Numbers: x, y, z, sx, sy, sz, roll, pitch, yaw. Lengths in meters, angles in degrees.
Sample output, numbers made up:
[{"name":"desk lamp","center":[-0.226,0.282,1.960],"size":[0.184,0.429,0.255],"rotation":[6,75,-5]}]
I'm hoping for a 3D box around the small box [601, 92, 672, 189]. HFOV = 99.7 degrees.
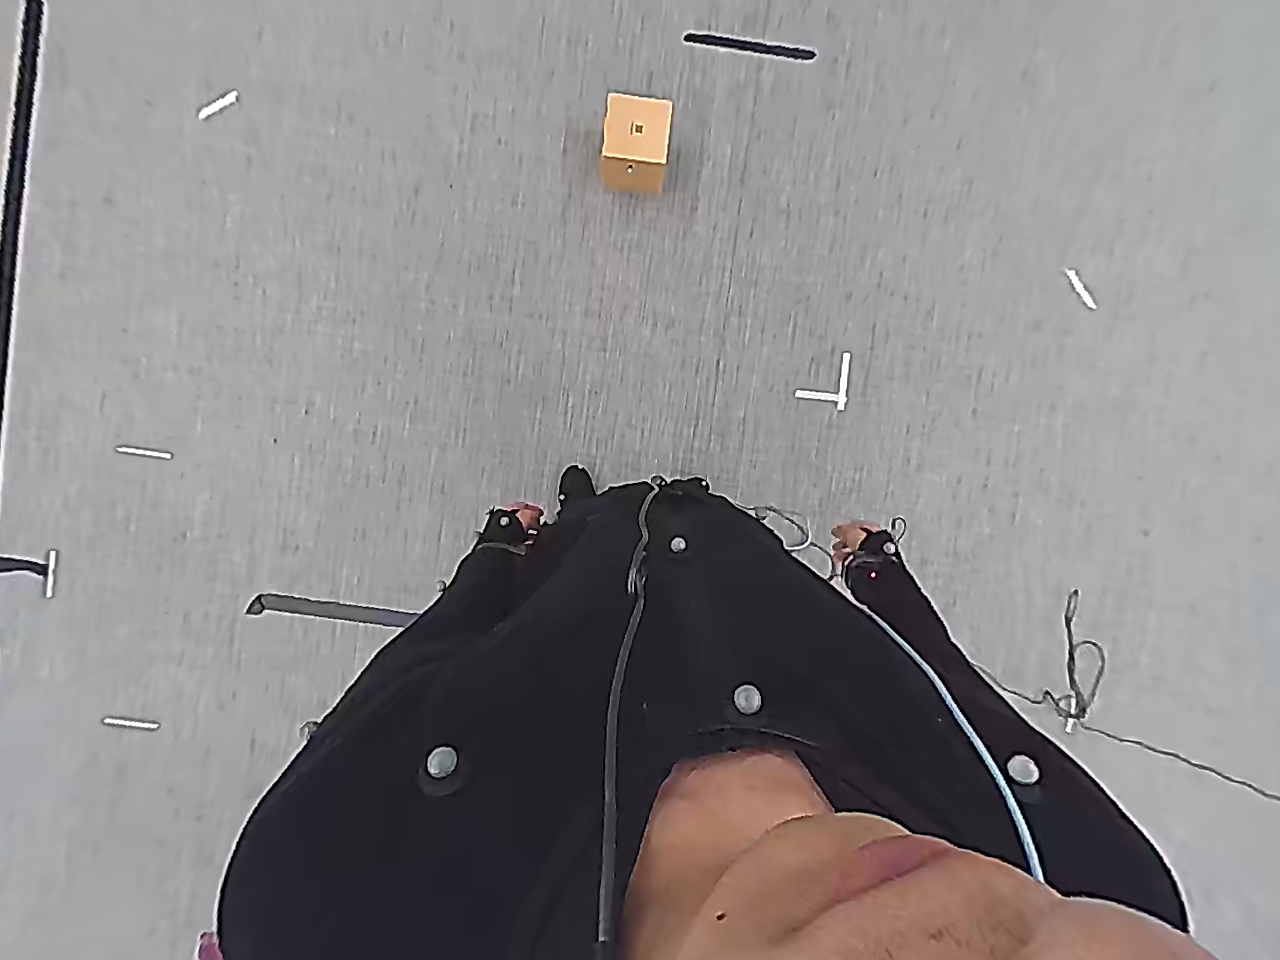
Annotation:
[{"name":"small box","center":[-0.012,-0.941,1.515],"size":[0.179,0.176,0.168],"rotation":[6,93,-2]}]
